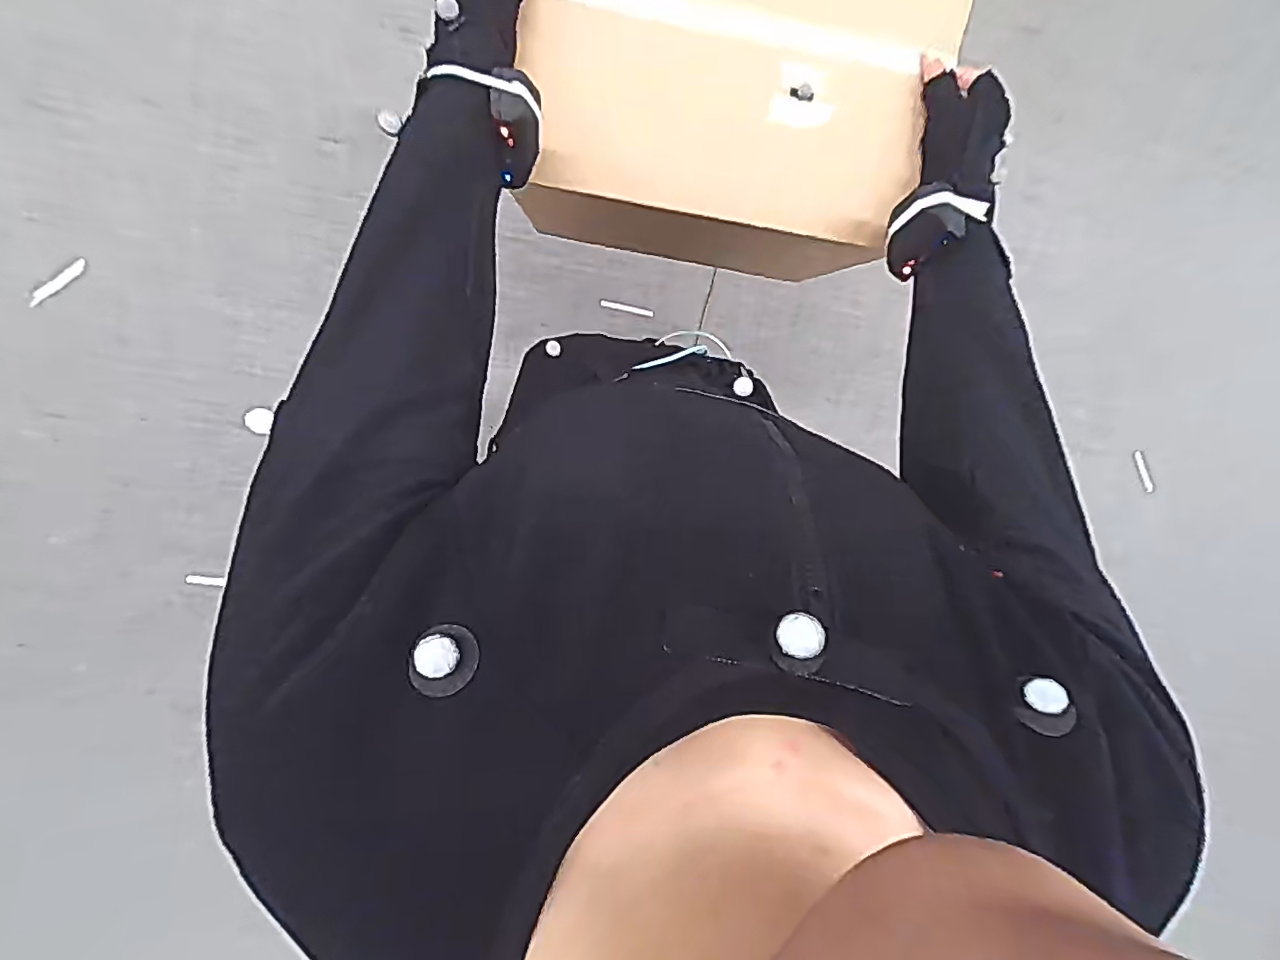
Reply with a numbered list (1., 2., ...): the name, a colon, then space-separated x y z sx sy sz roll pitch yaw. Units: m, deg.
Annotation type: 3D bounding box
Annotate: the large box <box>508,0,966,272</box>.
1. large box: 0.081 -0.451 0.631 0.408 0.320 0.320 8 106 -6
